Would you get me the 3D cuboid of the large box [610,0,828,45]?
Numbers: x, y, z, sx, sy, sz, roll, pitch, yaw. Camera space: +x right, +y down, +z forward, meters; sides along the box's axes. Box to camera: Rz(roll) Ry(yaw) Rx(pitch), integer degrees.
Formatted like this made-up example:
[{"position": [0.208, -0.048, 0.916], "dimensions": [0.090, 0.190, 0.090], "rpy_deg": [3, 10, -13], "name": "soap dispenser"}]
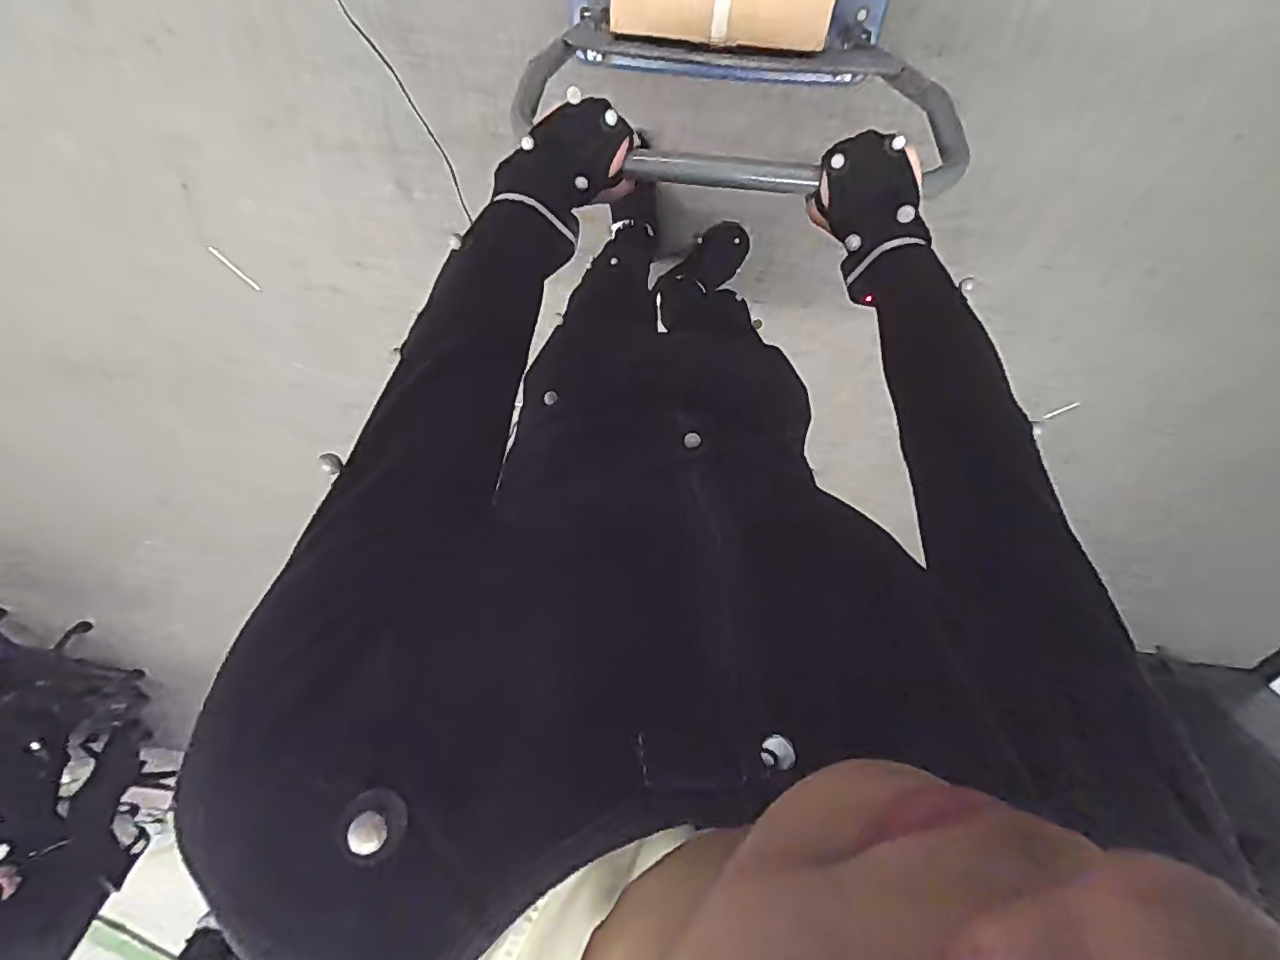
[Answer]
[{"position": [0.135, -0.897, 0.783], "dimensions": [0.320, 0.320, 0.408], "rpy_deg": [6, 131, 1], "name": "large box"}]
